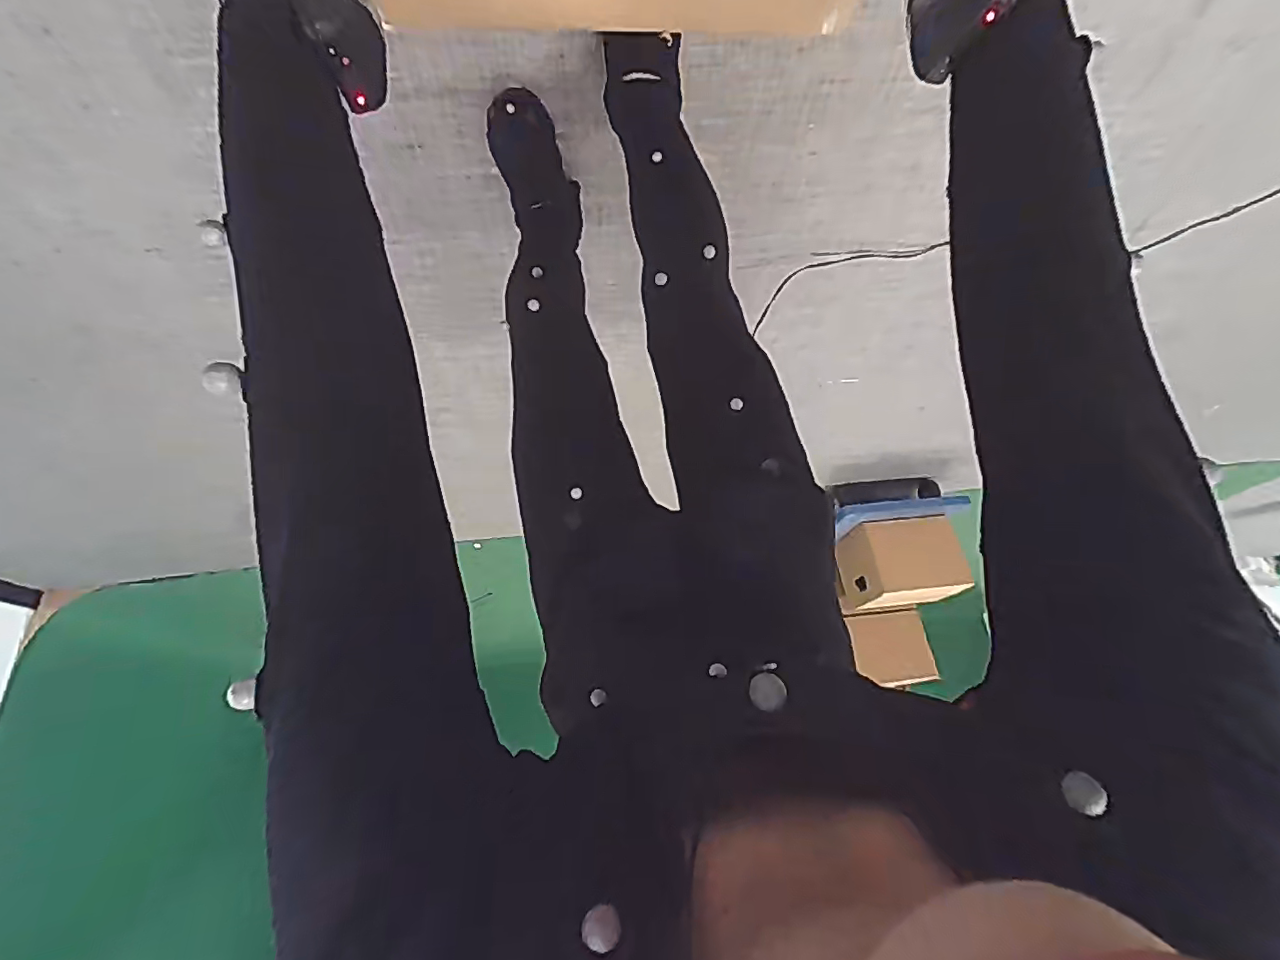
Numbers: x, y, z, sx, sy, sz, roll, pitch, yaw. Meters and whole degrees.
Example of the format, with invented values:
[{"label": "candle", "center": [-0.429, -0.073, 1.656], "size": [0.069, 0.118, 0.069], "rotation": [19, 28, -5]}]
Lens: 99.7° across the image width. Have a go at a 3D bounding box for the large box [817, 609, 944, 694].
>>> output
[{"label": "large box", "center": [1.121, 0.816, 2.566], "size": [0.408, 0.320, 0.320], "rotation": [-4, 156, -10]}]
